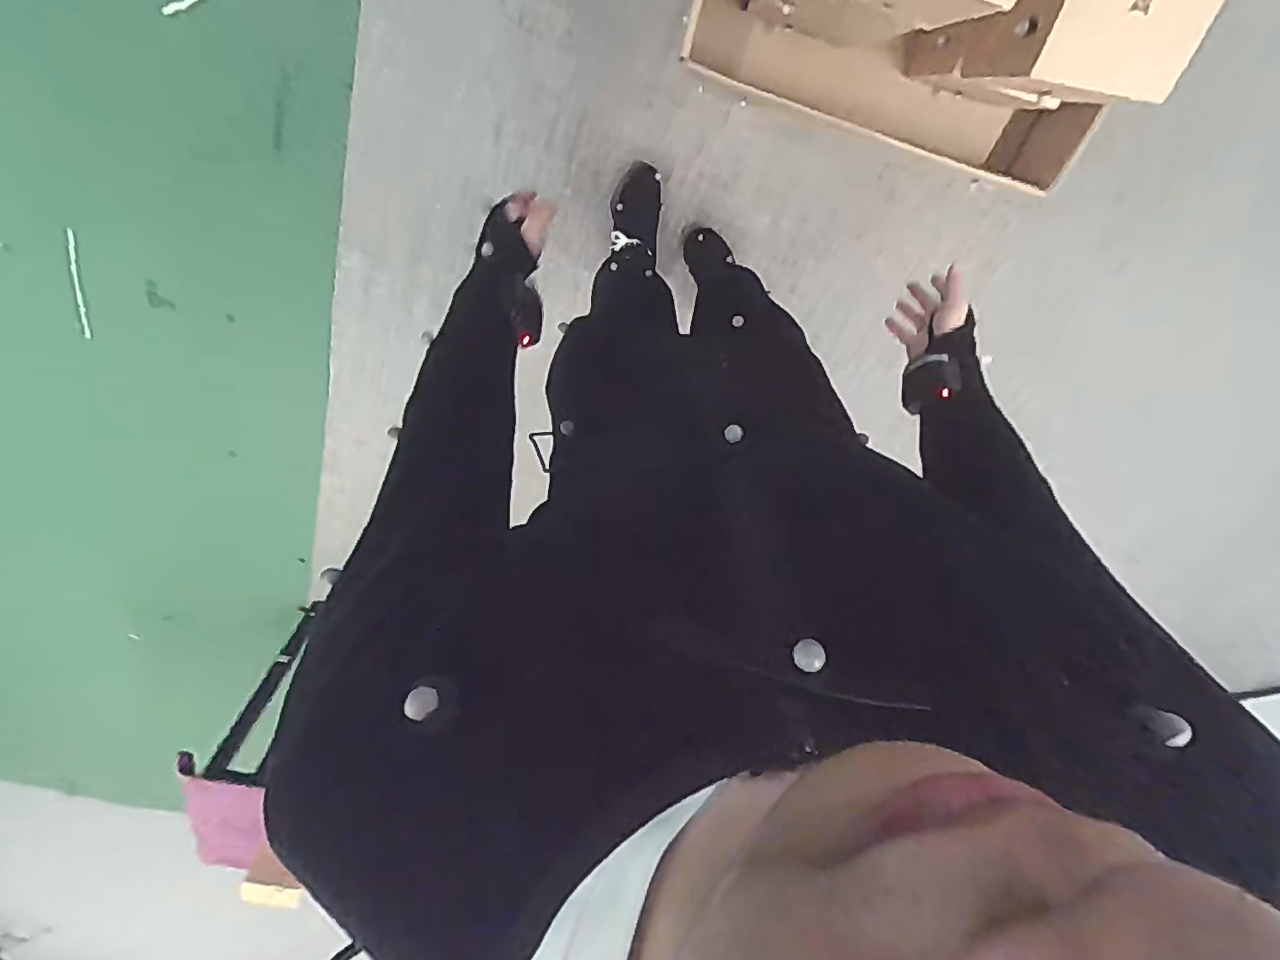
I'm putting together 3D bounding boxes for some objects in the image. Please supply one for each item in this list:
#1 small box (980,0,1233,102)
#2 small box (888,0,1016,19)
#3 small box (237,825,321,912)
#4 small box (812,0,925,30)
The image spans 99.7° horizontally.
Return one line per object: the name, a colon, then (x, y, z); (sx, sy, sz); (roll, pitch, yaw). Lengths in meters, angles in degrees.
small box: (0.529, -0.552, 0.614); (0.168, 0.176, 0.179); (8, 126, -5)
small box: (0.257, -0.518, 0.444); (0.168, 0.176, 0.179); (14, 124, -8)
small box: (-1.130, 1.220, 1.699); (0.168, 0.176, 0.179); (19, 124, -14)
small box: (0.259, -0.617, 0.573); (0.168, 0.176, 0.179); (15, 123, -9)
